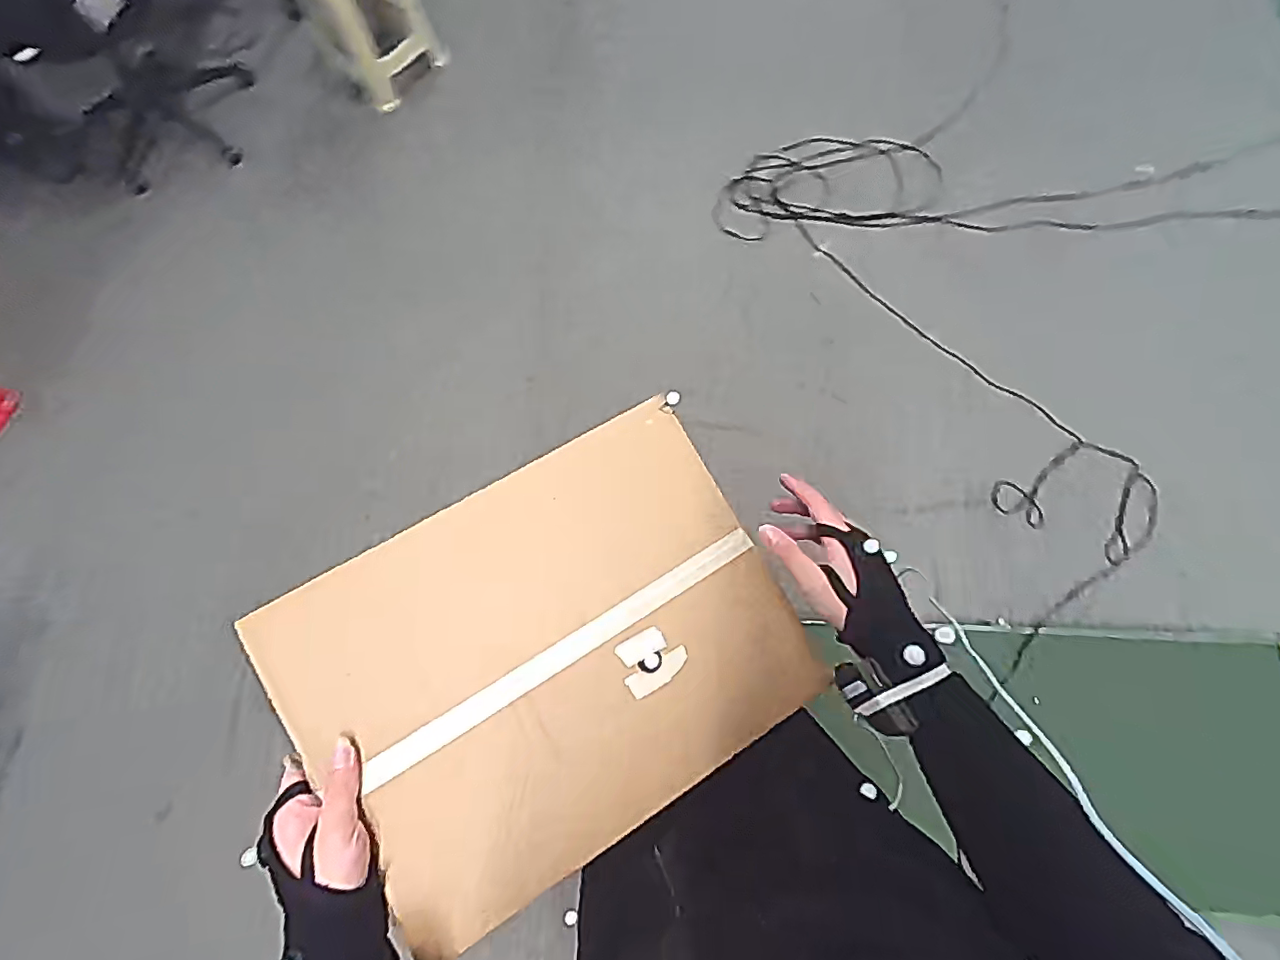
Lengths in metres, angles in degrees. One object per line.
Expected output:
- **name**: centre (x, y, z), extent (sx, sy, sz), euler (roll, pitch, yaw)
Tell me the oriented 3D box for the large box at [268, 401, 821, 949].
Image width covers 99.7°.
- **large box**: centre (-0.092, 0.173, 0.623), extent (0.408, 0.320, 0.320), euler (-29, 87, -14)
